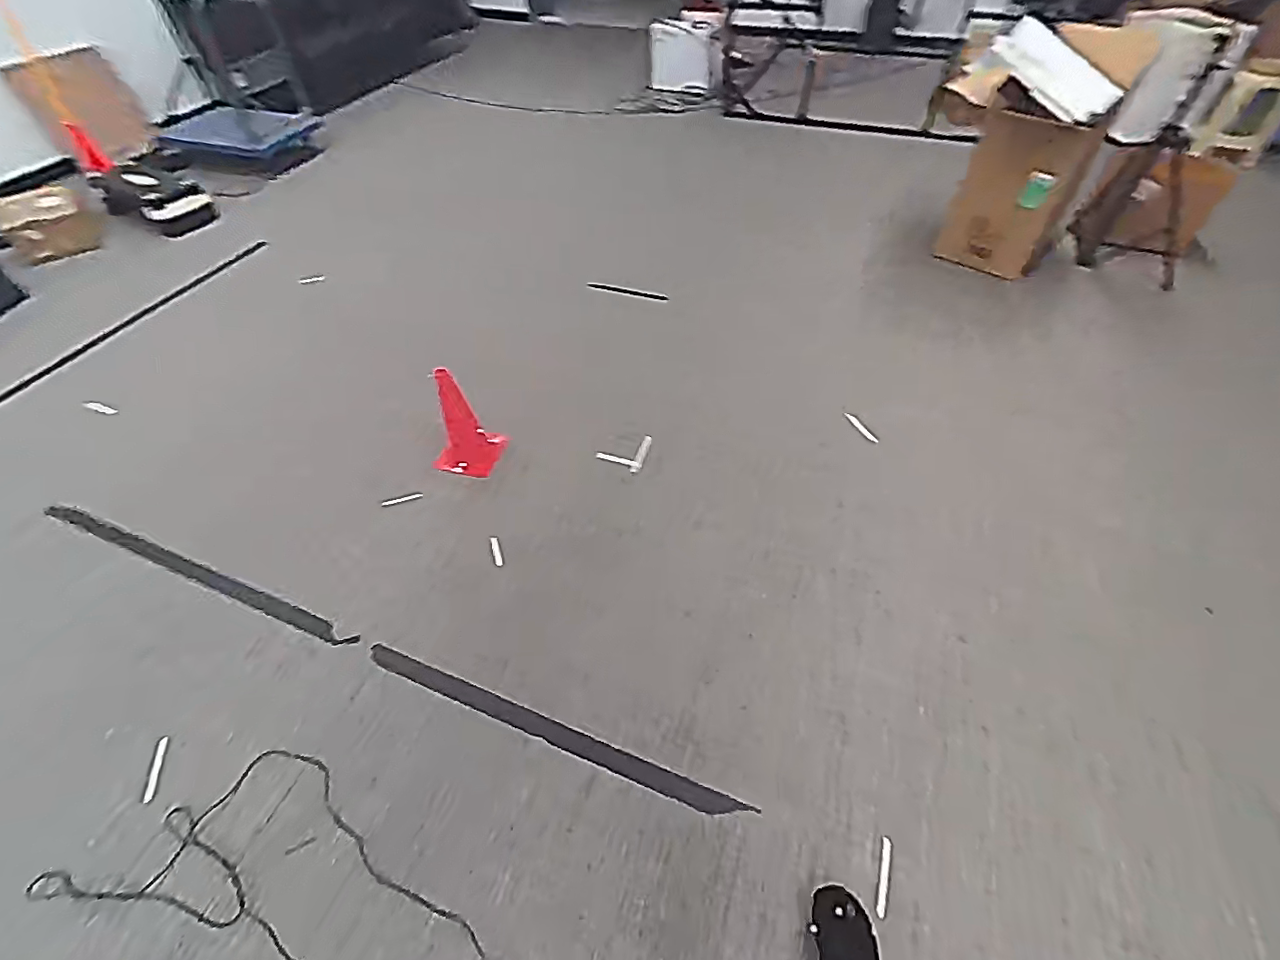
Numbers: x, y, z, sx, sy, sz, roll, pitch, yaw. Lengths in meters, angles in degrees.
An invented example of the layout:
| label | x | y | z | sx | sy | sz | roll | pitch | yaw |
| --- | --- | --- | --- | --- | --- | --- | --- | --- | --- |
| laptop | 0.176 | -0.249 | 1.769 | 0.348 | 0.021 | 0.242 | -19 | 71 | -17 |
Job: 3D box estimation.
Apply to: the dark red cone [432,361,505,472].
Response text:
| label | x | y | z | sx | sy | sz | roll | pitch | yaw |
| --- | --- | --- | --- | --- | --- | --- | --- | --- | --- |
| dark red cone | -0.583 | -0.215 | 1.722 | 0.202 | 0.394 | 0.201 | 10 | 52 | 10 |
